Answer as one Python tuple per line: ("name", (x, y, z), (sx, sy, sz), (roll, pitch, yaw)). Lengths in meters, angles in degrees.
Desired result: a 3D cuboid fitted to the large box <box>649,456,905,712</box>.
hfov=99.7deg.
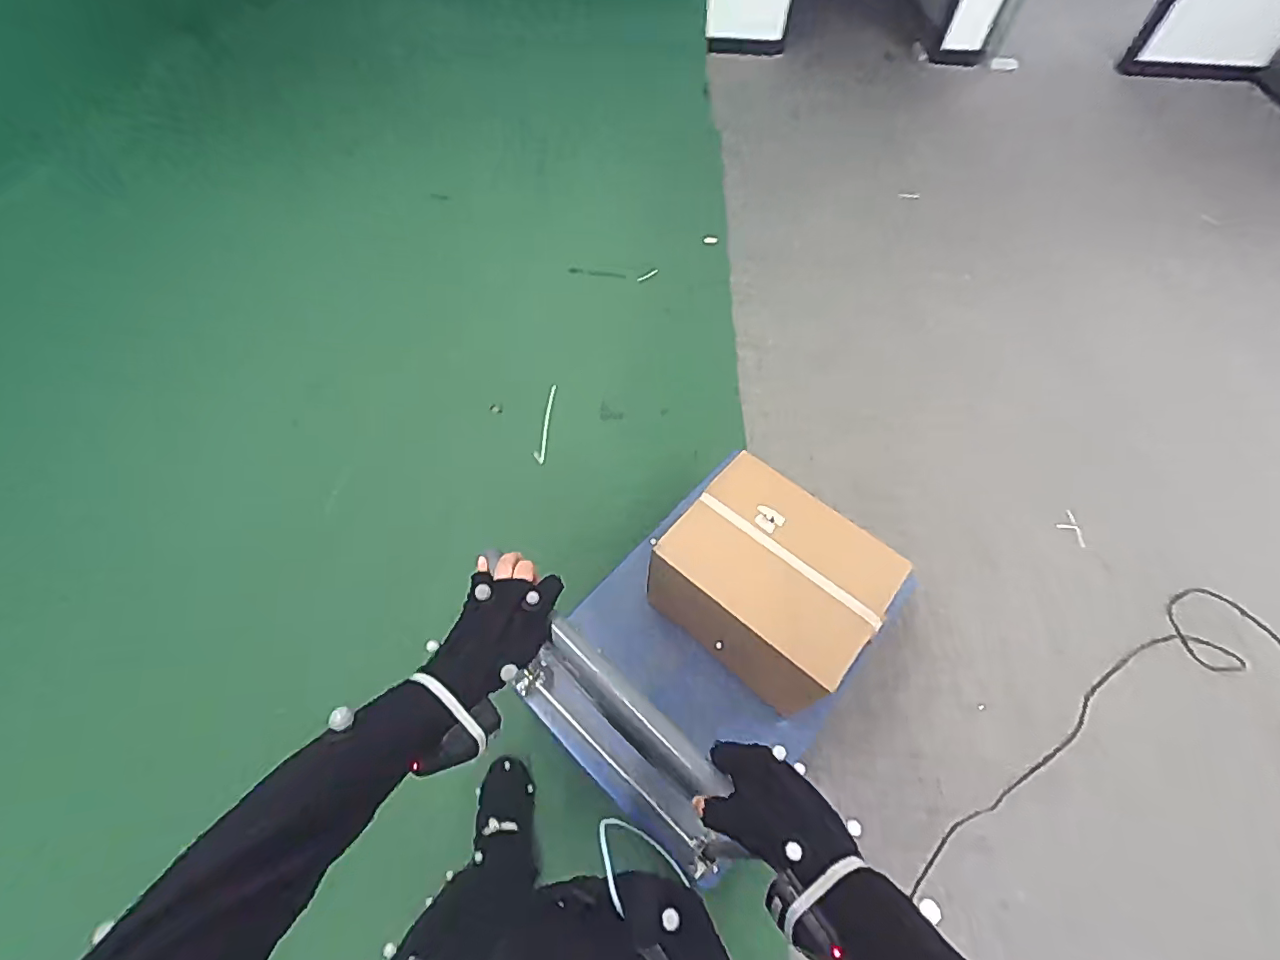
("large box", (0.268, 0.230, 1.177), (0.408, 0.320, 0.320), (37, 64, 19))
